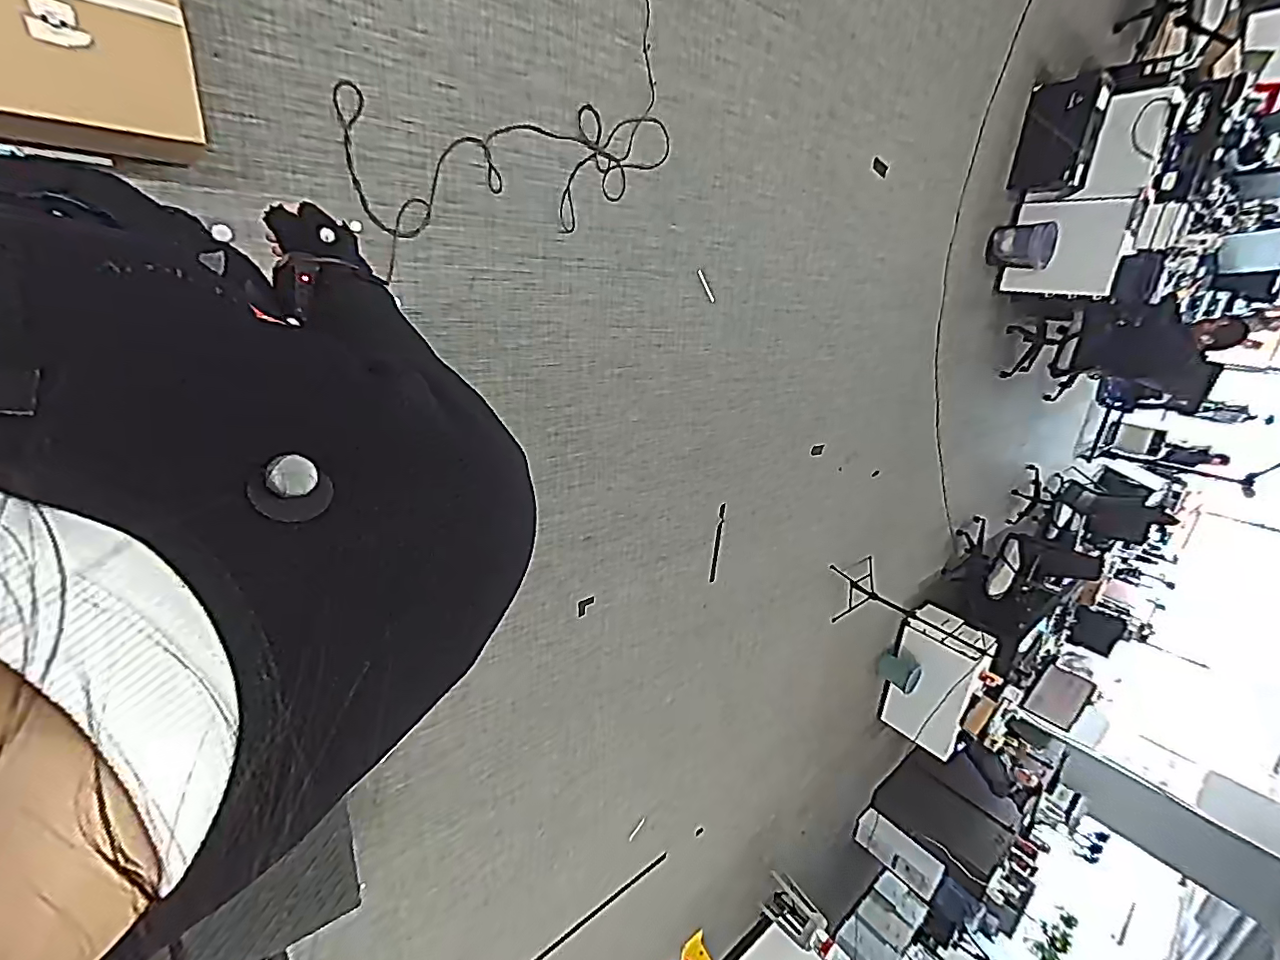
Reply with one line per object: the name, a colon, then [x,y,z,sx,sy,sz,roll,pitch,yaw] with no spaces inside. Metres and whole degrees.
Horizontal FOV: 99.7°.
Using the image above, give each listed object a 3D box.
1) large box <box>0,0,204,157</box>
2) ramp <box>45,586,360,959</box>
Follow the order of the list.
large box: [-0.903,-0.672,0.751,0.408,0.320,0.320,-13,118,-39]
ramp: [-1.033,0.794,1.358,0.509,0.206,0.991,-12,115,-37]
